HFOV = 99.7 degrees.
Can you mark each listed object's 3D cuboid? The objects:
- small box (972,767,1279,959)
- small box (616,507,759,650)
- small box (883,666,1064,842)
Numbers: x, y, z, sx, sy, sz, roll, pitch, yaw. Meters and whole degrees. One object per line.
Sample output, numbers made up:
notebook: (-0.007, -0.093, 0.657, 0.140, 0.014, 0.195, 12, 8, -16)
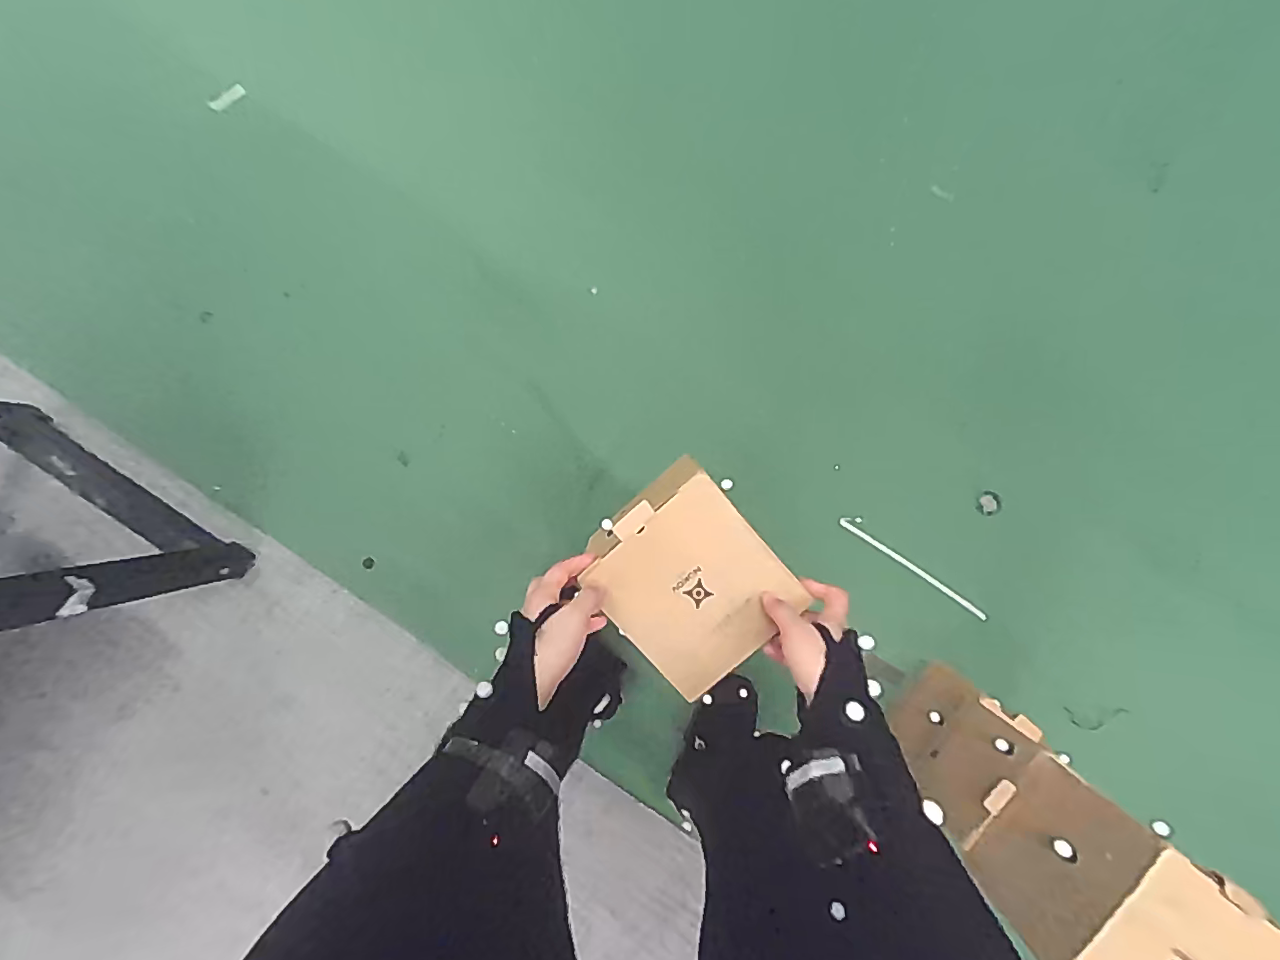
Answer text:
small box: (0.516, 0.463, 0.593, 0.168, 0.176, 0.179, 37, 92, 1)
small box: (0.079, 0.159, 0.943, 0.179, 0.176, 0.168, 33, 93, 3)
small box: (0.546, 0.456, 0.921, 0.168, 0.176, 0.179, 42, 92, 2)
